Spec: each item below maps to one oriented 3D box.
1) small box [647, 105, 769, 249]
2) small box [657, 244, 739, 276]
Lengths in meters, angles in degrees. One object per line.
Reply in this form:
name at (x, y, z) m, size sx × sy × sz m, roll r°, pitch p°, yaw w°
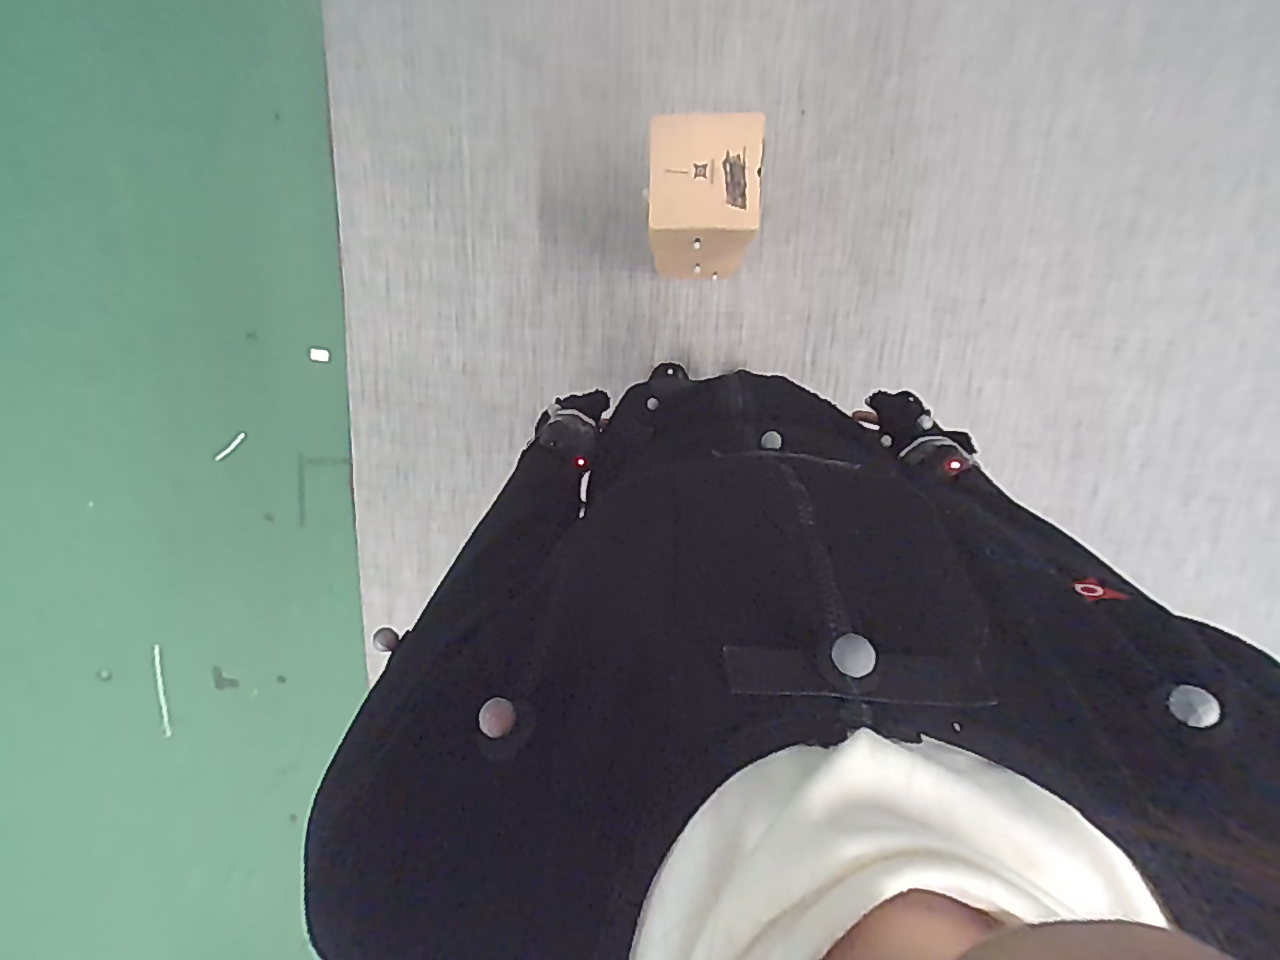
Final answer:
small box at (0.107, -0.497, 0.911) m, size 0.179 × 0.176 × 0.168 m, roll 5°, pitch 100°, yaw 3°
small box at (0.133, -0.566, 1.234) m, size 0.179 × 0.176 × 0.168 m, roll 2°, pitch 102°, yaw 5°
